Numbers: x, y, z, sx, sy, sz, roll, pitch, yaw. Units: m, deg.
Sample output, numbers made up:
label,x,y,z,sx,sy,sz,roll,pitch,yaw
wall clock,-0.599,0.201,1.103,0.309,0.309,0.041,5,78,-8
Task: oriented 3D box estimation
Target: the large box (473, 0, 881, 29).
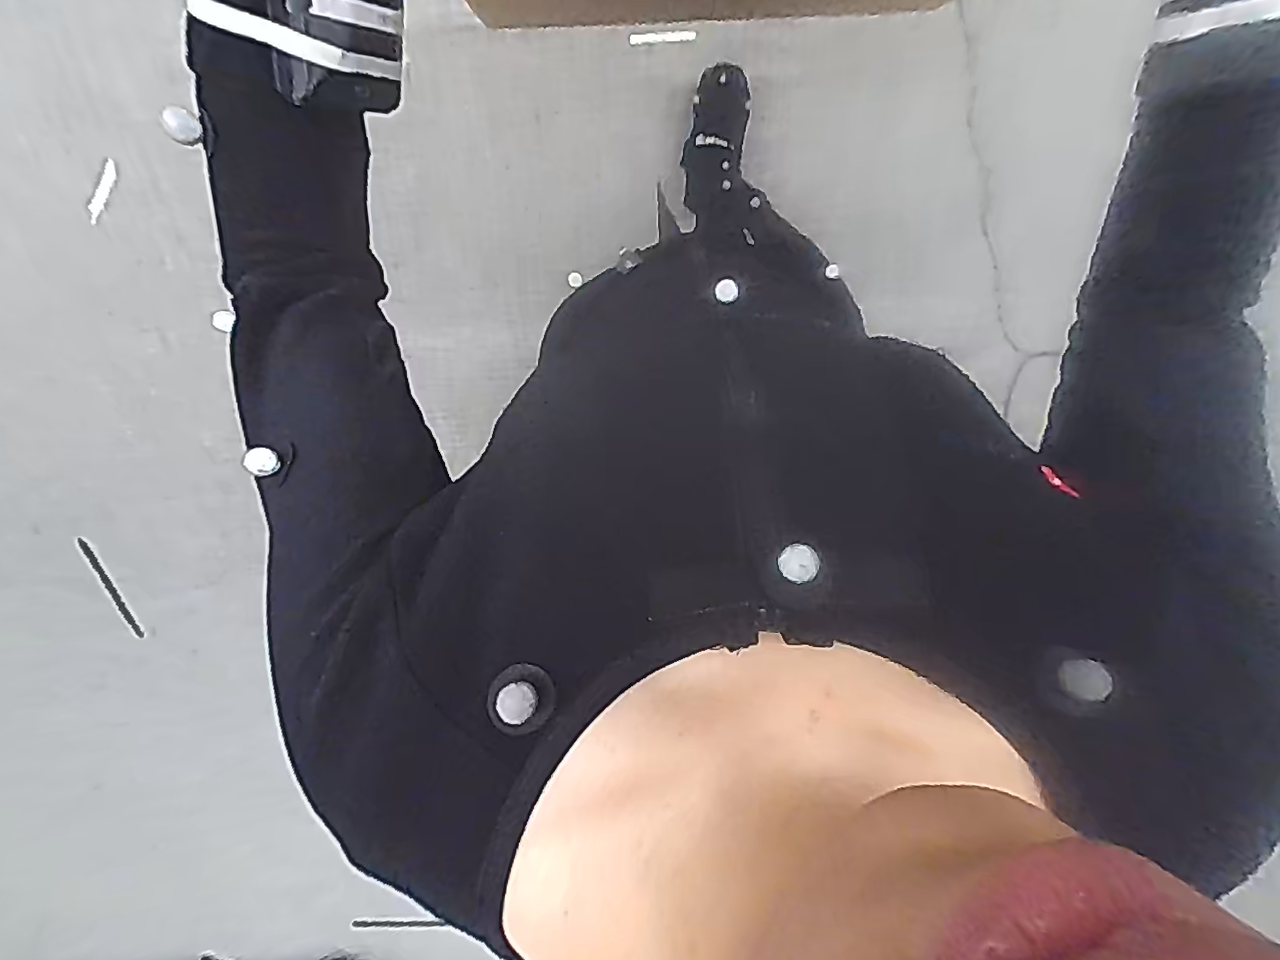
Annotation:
label,x,y,z,sx,sy,sz,roll,pitch,yaw
large box,0.058,-0.482,0.280,0.408,0.320,0.320,-4,118,-1
